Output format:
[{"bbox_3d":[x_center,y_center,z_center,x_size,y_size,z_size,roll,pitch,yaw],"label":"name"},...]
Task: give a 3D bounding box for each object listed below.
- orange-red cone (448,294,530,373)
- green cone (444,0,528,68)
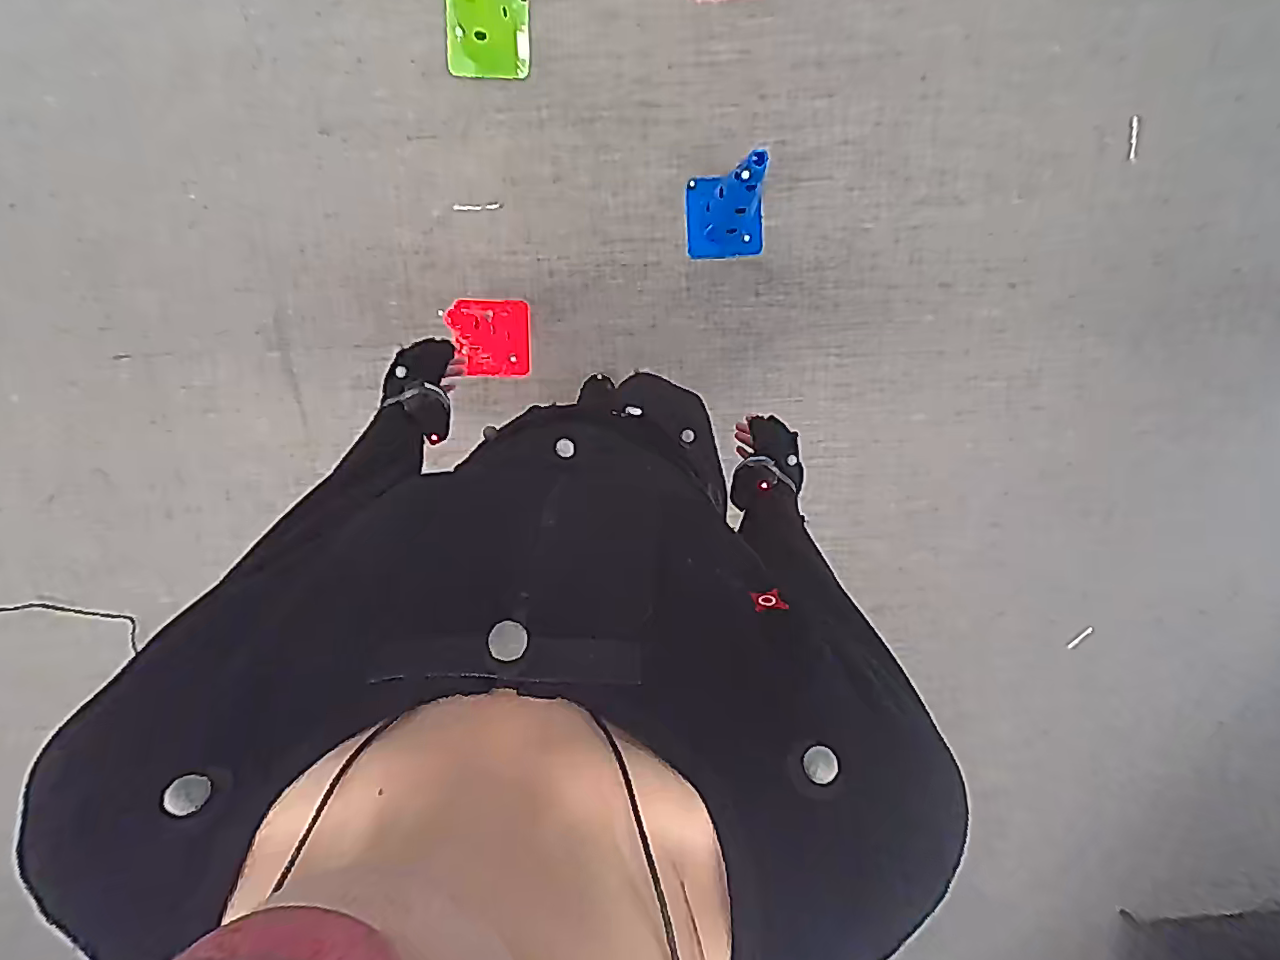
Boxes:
[{"bbox_3d":[-0.380,-0.364,1.258,0.198,0.360,0.199,1,97,-4],"label":"orange-red cone"},{"bbox_3d":[-0.368,-1.087,1.144,0.200,0.368,0.202,-1,100,-2],"label":"green cone"}]
